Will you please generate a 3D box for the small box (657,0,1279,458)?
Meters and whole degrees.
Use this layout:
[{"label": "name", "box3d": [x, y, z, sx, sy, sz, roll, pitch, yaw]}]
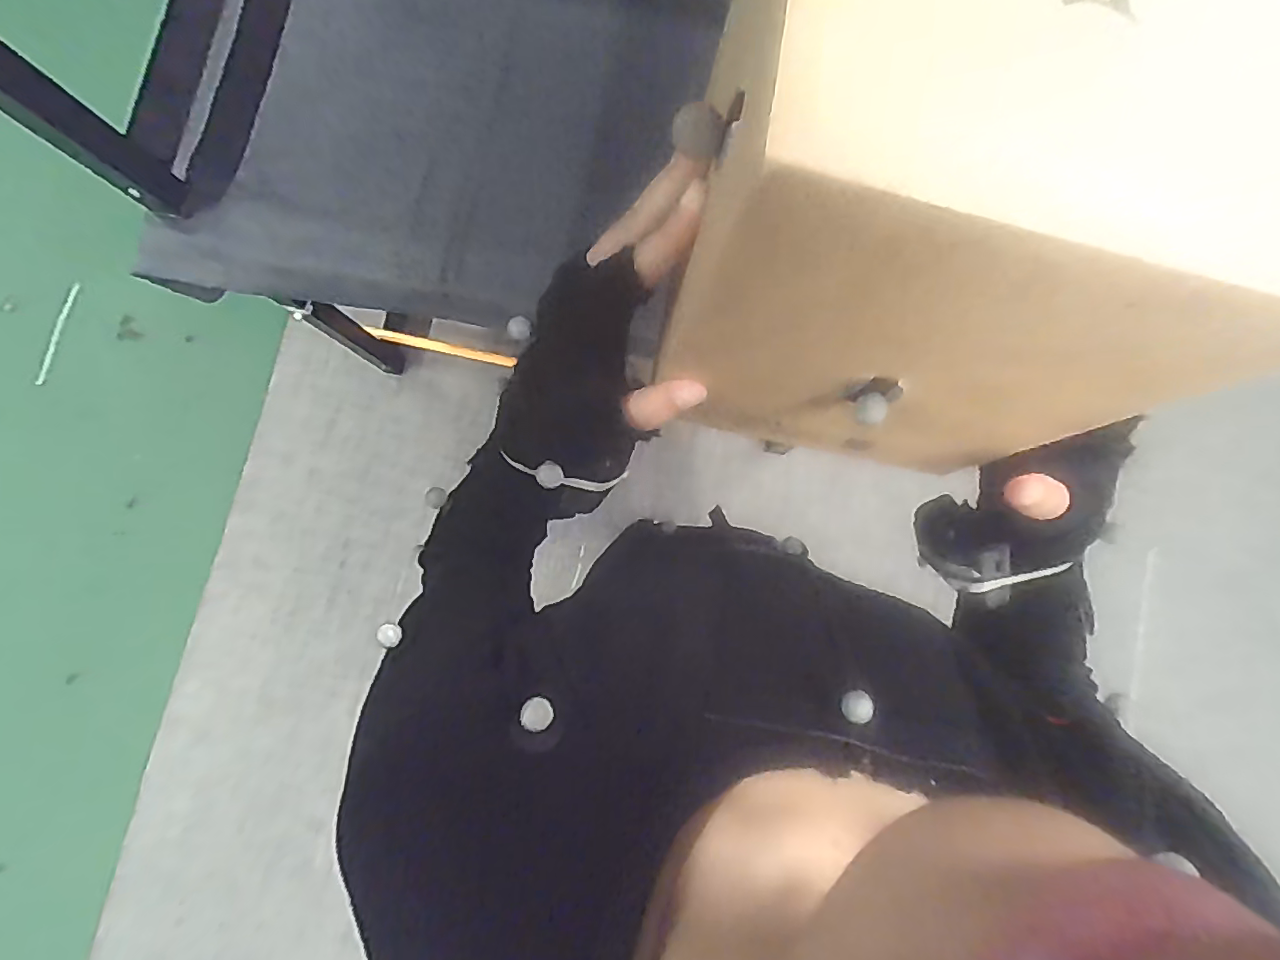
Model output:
[{"label": "small box", "box3d": [0.108, -0.119, 0.224, 0.168, 0.176, 0.179, 12, 77, -6]}]
